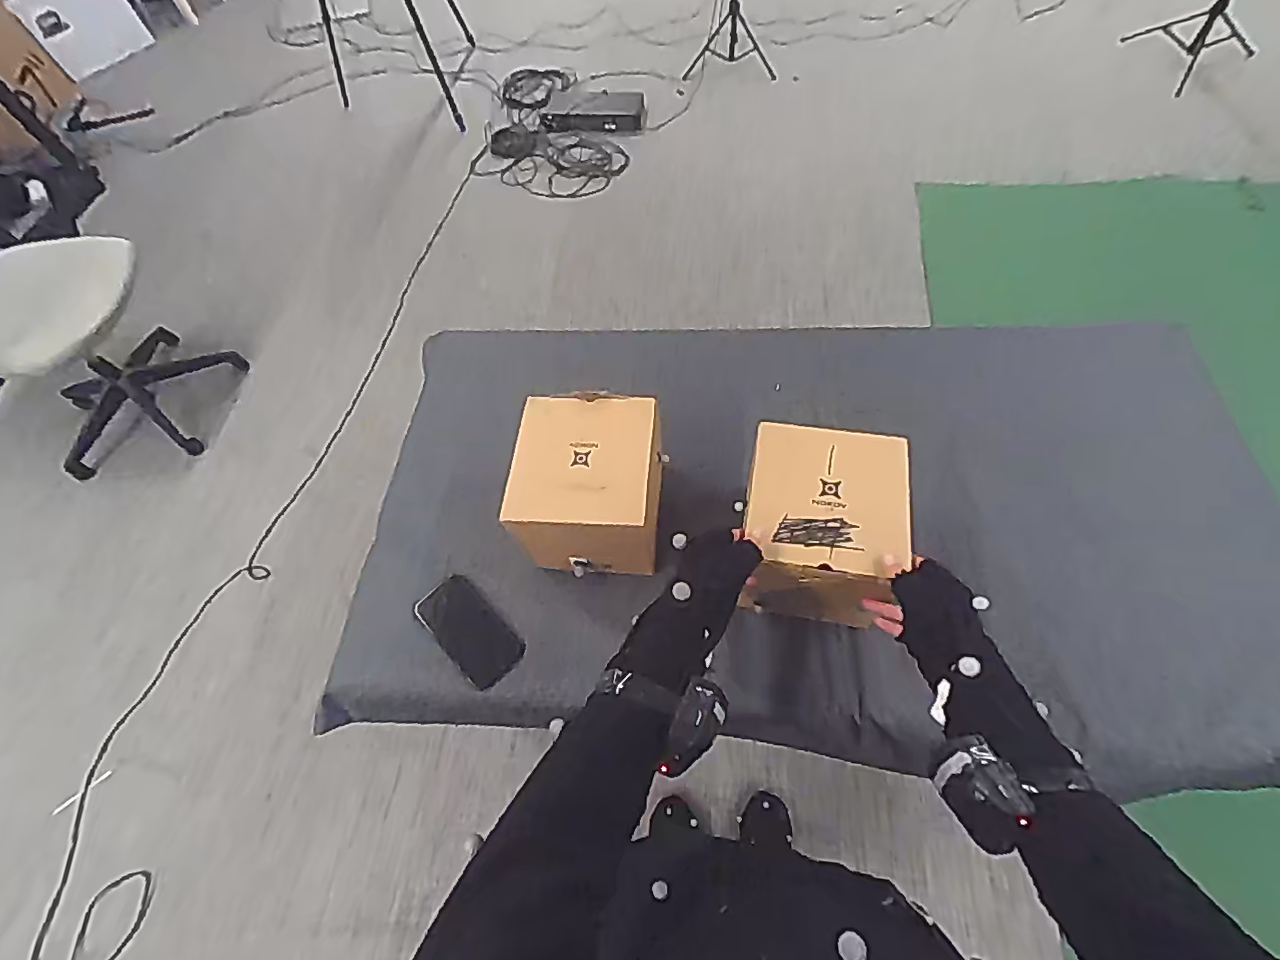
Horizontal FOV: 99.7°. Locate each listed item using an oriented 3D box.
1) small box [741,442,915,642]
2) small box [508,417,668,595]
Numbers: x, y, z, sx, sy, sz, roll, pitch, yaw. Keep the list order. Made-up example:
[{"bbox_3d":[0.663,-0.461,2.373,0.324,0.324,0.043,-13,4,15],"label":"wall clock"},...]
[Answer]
[{"bbox_3d":[0.214,0.079,0.645,0.168,0.176,0.179,7,59,11],"label":"small box"},{"bbox_3d":[-0.053,0.037,0.704,0.168,0.176,0.179,0,60,8],"label":"small box"}]
